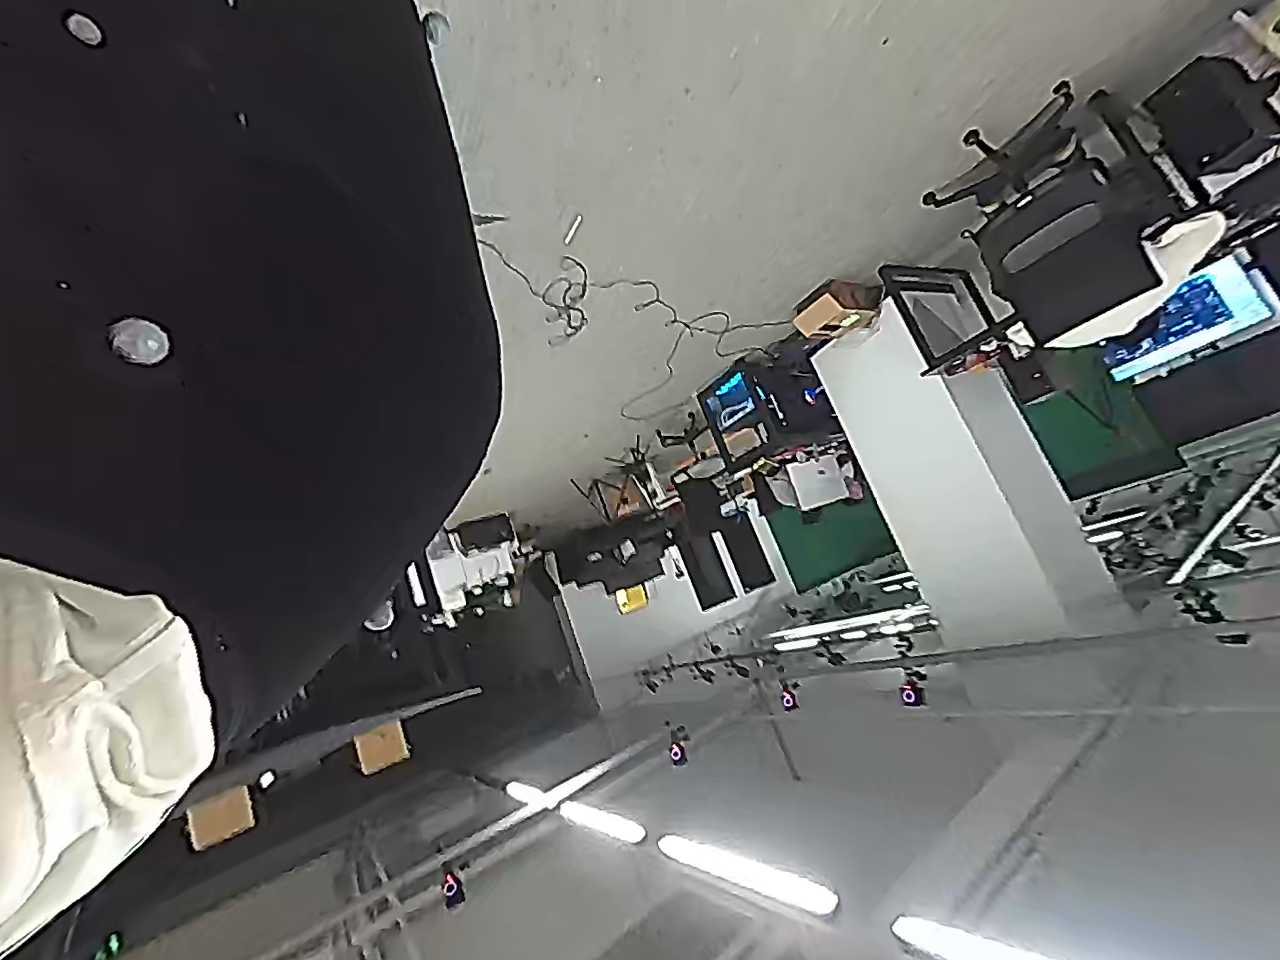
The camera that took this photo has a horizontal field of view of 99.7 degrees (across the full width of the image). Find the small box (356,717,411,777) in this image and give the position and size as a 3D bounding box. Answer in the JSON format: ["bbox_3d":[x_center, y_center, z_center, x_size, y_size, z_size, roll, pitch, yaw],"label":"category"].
[{"bbox_3d":[-1.060,1.093,2.225,0.168,0.176,0.179,-14,165,-33],"label":"small box"}]
